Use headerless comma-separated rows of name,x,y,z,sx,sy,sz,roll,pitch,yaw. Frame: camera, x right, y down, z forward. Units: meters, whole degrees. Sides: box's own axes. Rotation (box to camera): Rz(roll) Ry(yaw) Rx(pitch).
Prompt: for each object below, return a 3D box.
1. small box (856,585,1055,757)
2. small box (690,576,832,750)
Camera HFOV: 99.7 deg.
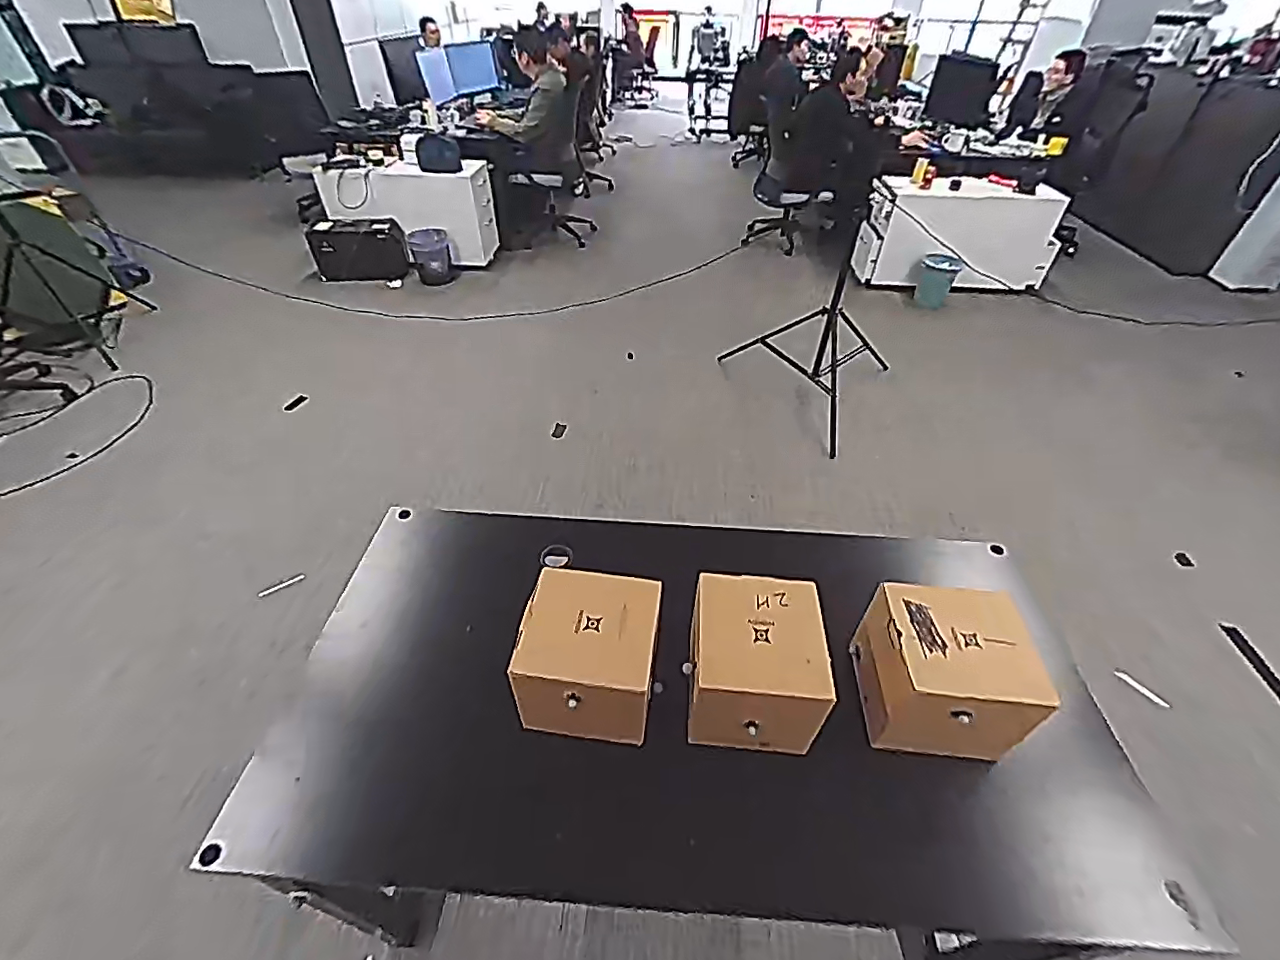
small box,0.422,0.272,0.767,0.179,0.176,0.168,5,42,3
small box,0.161,0.263,0.772,0.168,0.176,0.179,5,42,3
